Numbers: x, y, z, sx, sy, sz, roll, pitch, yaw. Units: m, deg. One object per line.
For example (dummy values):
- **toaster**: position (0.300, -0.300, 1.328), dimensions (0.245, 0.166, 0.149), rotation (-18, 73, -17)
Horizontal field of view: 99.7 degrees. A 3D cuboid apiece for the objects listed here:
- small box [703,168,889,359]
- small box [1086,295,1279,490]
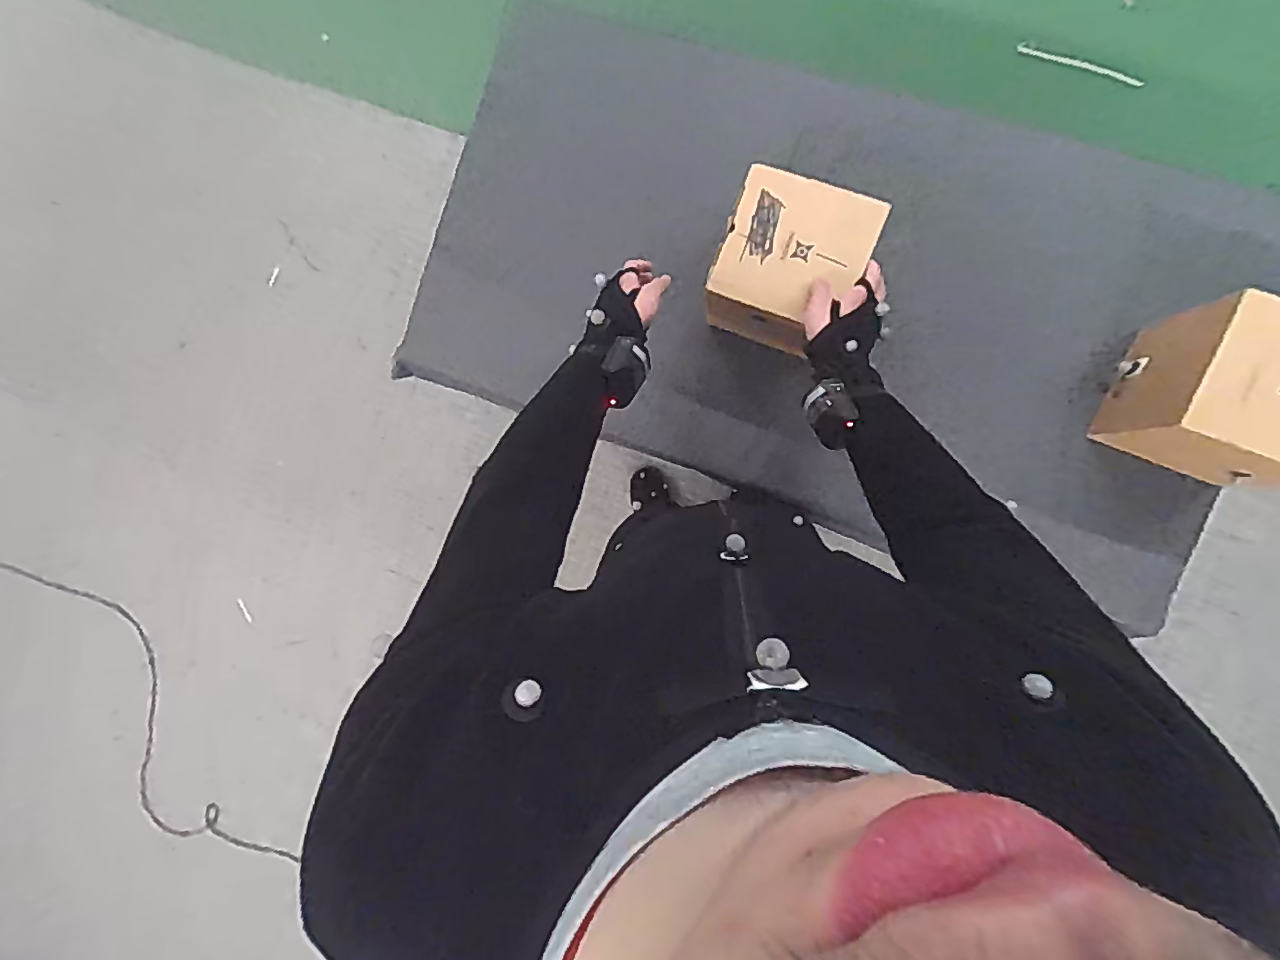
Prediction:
- **small box**: position (0.197, -0.277, 0.732), dimensions (0.179, 0.176, 0.168), rotation (22, 95, 7)
- **small box**: position (0.711, -0.094, 0.655), dimensions (0.179, 0.176, 0.168), rotation (23, 94, 9)
